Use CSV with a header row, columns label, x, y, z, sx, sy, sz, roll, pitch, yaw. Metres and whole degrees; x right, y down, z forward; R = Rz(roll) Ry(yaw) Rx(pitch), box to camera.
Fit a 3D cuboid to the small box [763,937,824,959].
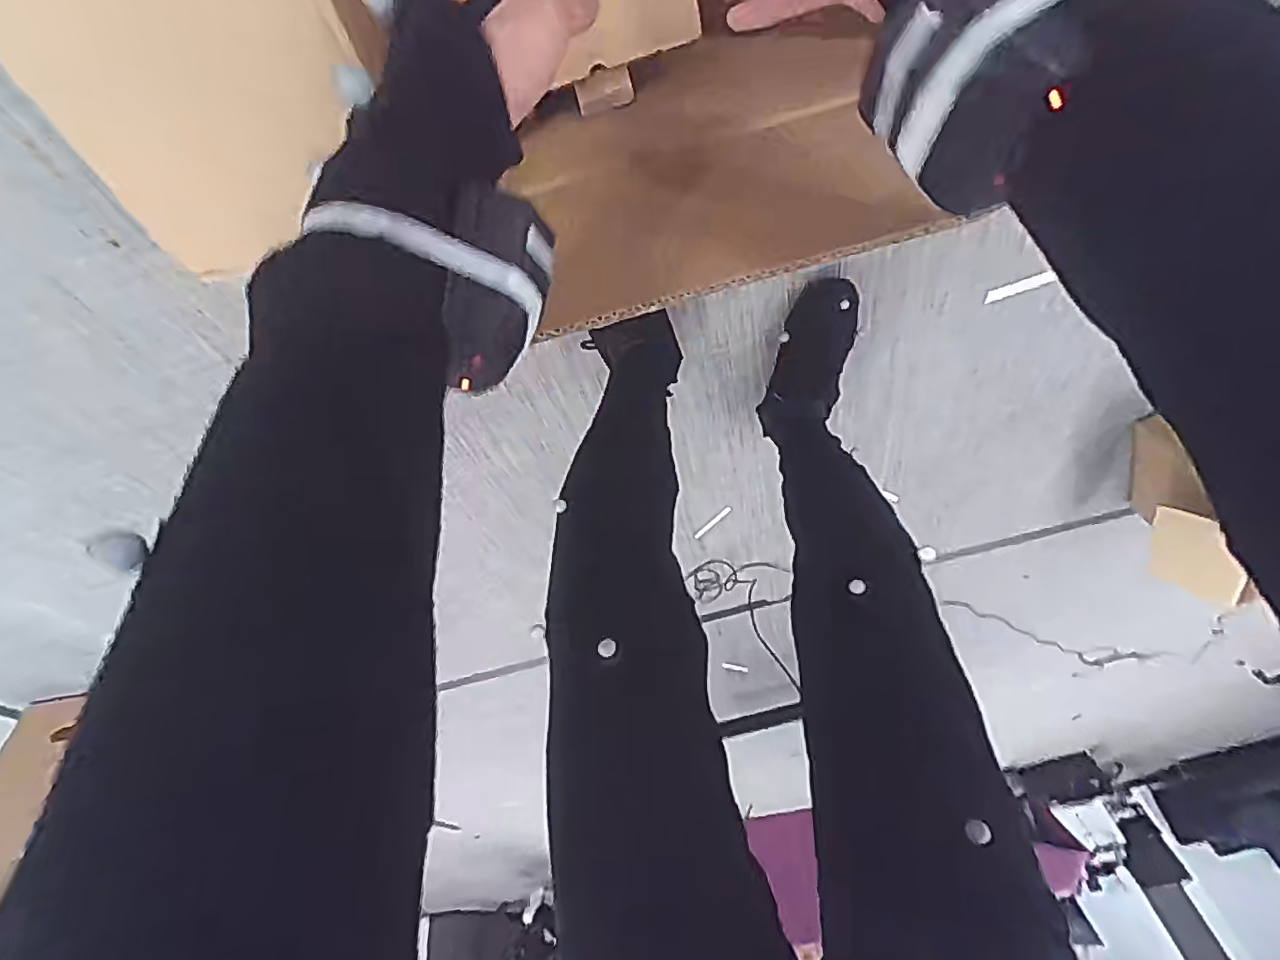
label,x,y,z,sx,sy,sz,roll,pitch,yaw
small box,0.474,1.482,1.600,0.168,0.176,0.179,-19,140,7
